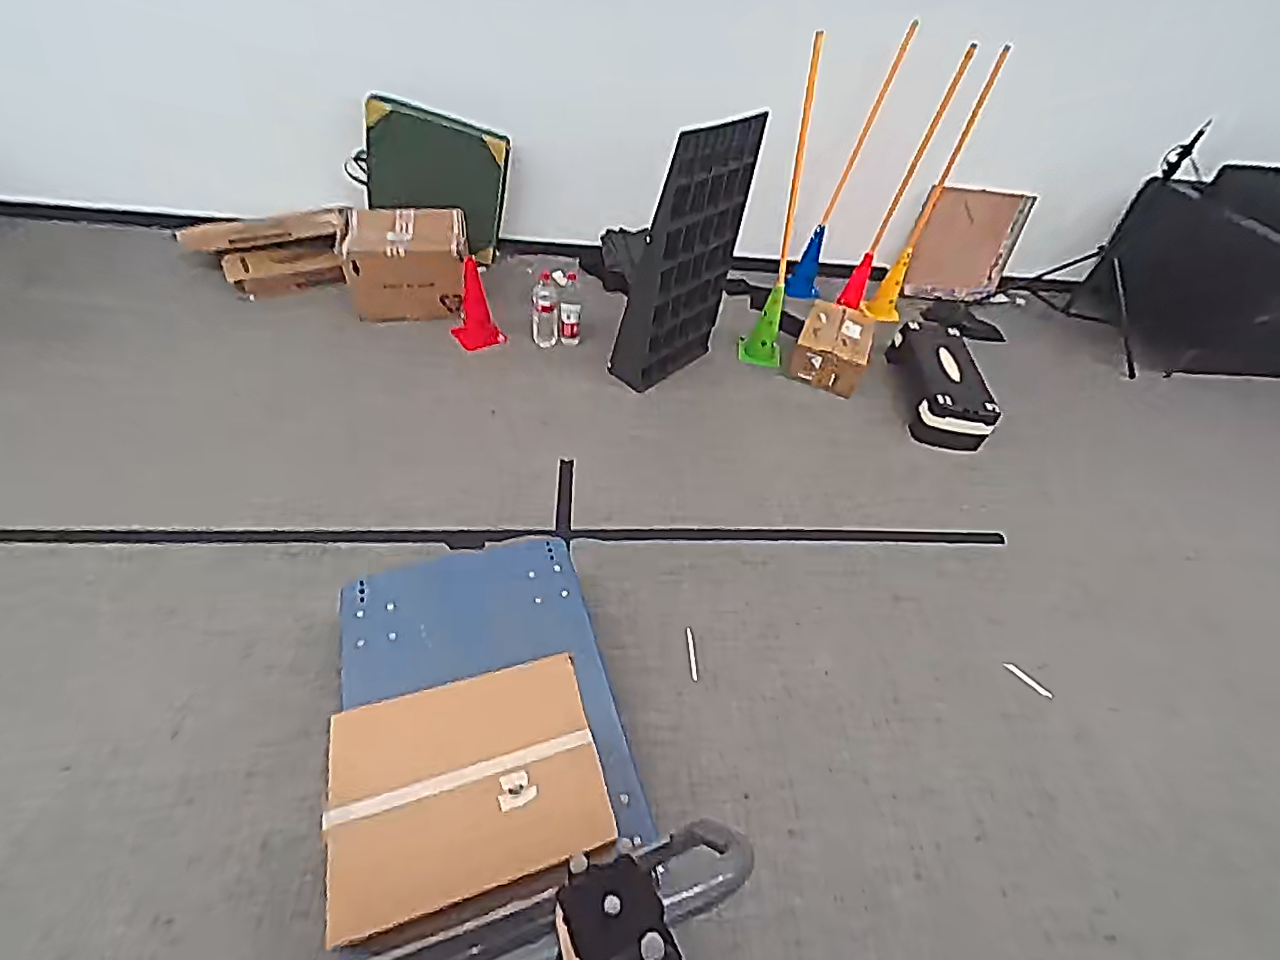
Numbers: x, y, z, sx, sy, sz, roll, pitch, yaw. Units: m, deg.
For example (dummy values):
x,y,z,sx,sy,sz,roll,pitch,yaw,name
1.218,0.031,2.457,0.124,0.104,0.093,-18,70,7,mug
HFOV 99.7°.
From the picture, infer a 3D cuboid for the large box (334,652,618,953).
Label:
x,y,z,sx,sy,sz,roll,pitch,yaw,name
-0.288,0.565,0.966,0.408,0.320,0.320,-9,51,-19,large box
